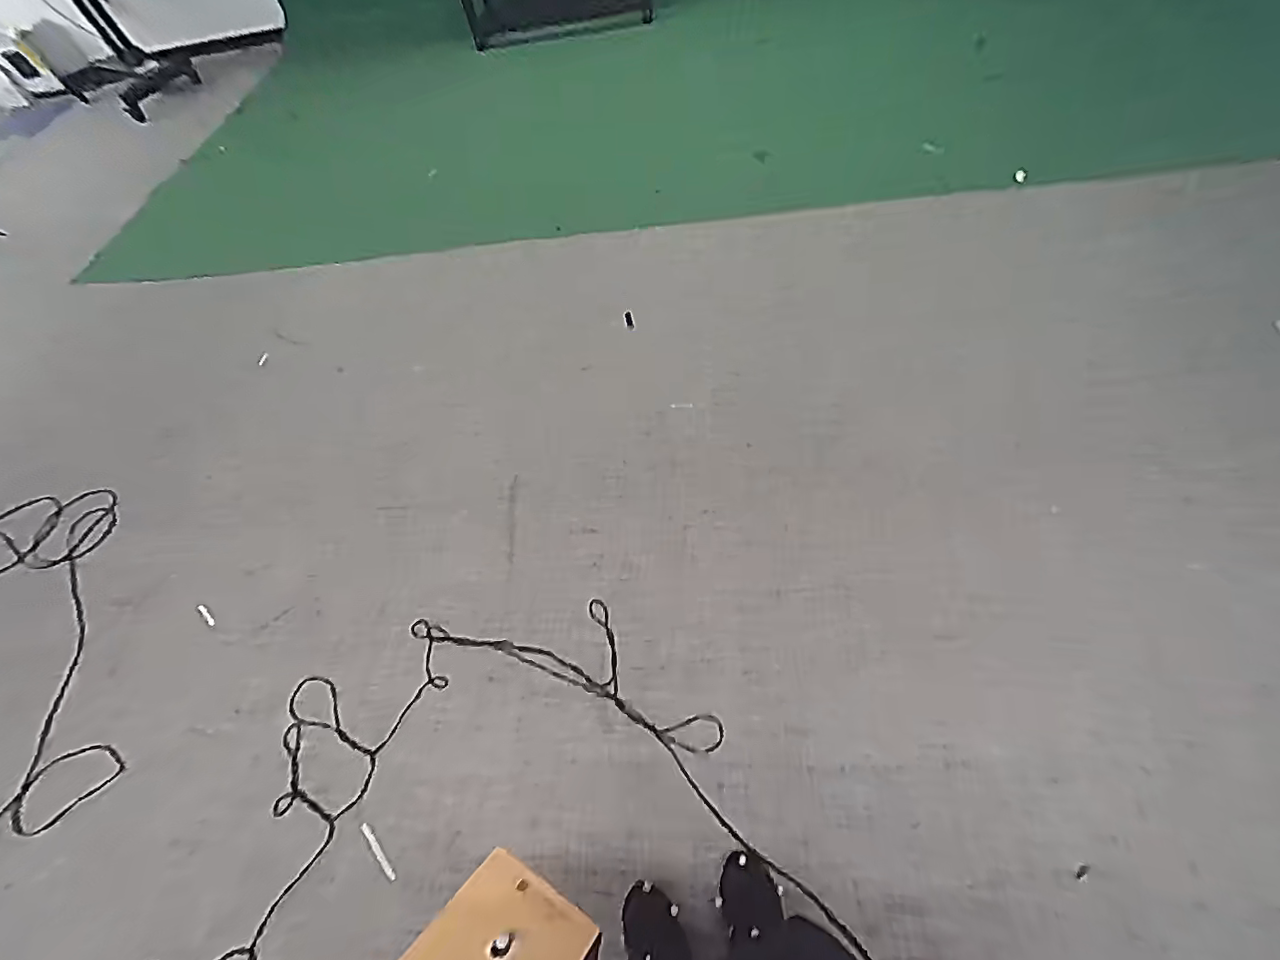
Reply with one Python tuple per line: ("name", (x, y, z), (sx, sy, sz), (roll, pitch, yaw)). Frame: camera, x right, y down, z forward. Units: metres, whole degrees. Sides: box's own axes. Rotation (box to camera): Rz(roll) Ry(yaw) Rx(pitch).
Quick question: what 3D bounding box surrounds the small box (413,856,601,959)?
("small box", (-0.160, 0.595, 0.627), (0.168, 0.179, 0.176), (19, 26, 25))
